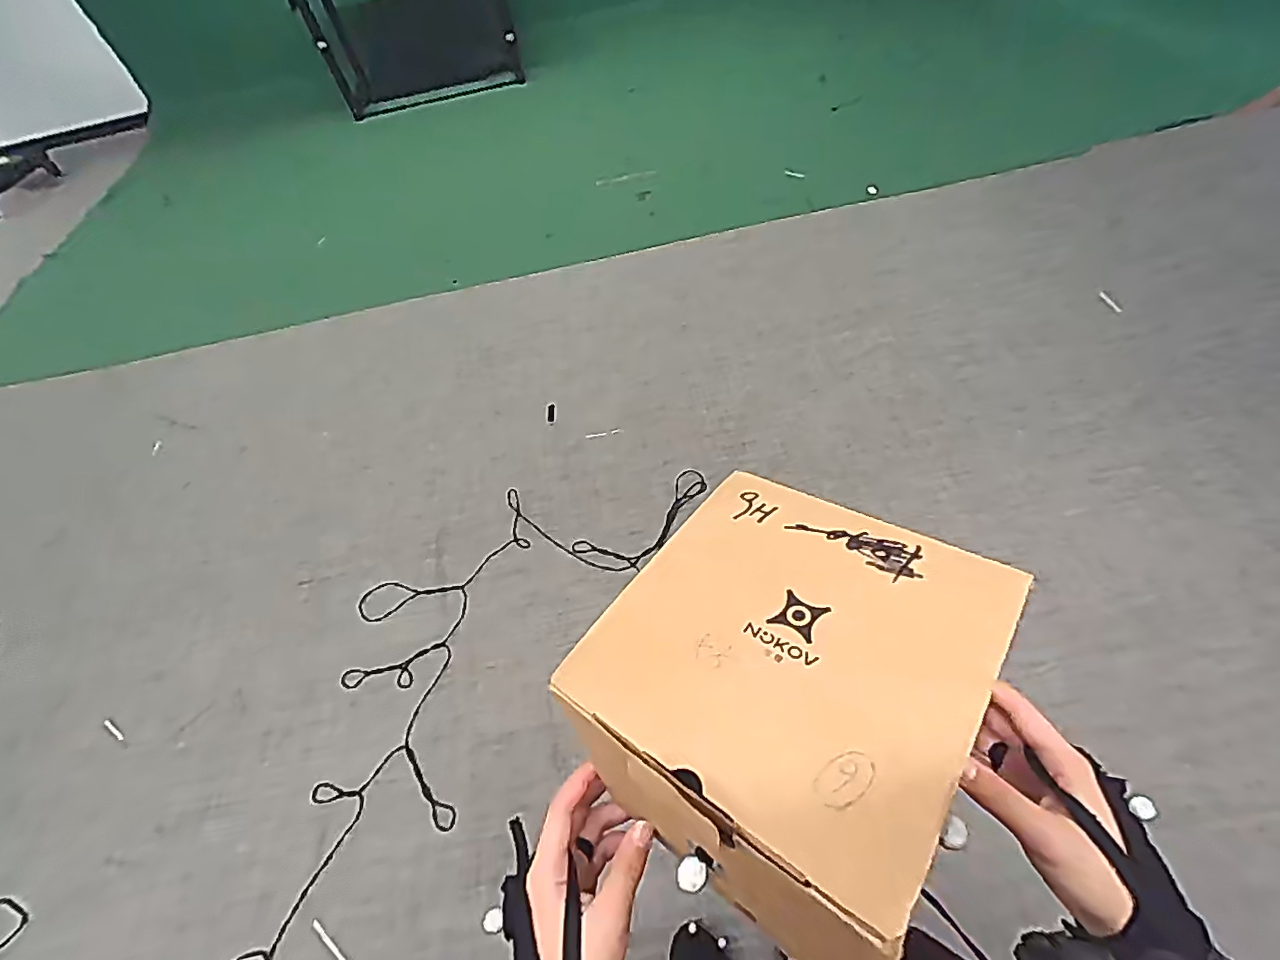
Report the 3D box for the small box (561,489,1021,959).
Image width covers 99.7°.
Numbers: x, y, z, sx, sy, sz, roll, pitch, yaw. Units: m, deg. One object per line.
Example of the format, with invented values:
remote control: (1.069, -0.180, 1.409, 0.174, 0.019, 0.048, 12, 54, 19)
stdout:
small box: (0.088, 0.141, 0.318, 0.168, 0.176, 0.179, 22, 52, 34)
